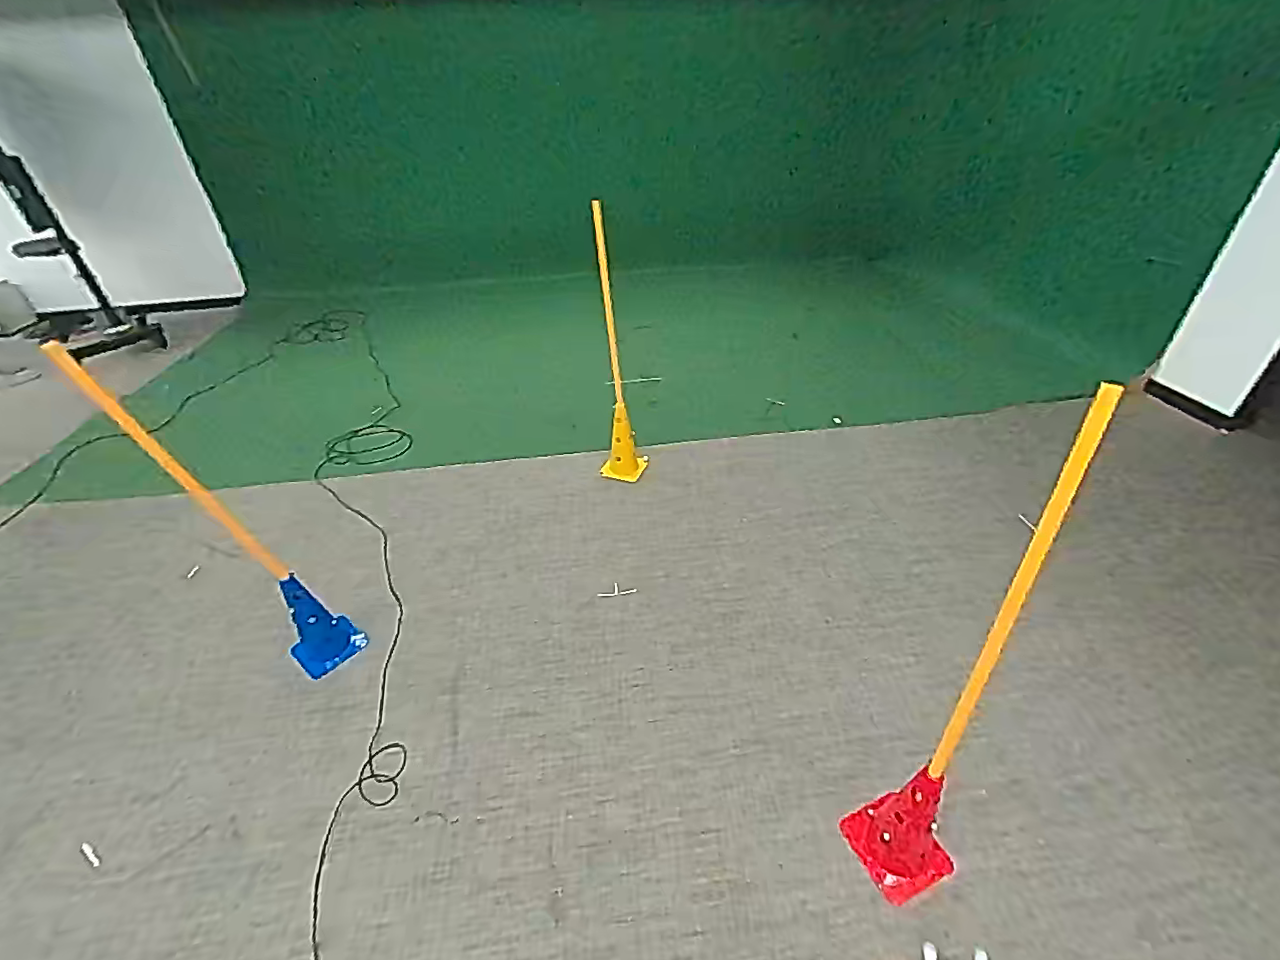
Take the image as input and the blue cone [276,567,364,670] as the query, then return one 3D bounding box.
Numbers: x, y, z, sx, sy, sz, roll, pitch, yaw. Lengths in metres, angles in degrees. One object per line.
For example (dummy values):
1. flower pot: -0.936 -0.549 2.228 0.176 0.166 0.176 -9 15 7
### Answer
1. blue cone: -1.084 0.428 1.768 0.192 0.380 0.193 24 46 30
